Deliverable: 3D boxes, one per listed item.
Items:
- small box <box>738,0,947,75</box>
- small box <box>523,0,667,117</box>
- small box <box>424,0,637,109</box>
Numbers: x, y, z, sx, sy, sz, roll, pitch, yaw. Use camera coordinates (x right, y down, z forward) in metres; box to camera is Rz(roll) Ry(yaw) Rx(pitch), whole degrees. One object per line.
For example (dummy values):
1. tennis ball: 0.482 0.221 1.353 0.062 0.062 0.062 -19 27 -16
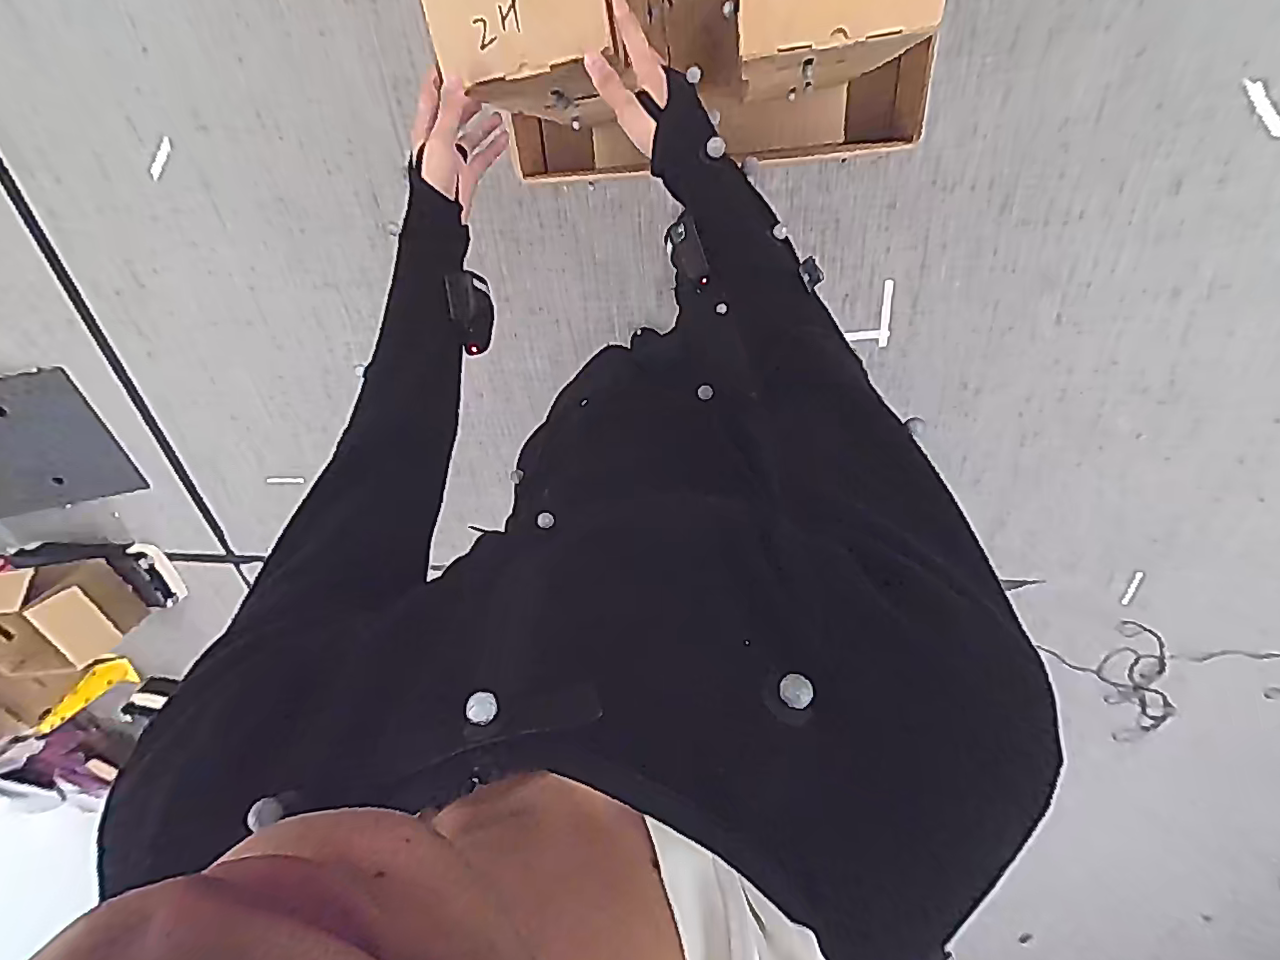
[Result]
1. small box: 0.172 -0.486 0.481 0.168 0.176 0.179 -1 122 11
2. small box: -0.063 -0.565 0.668 0.168 0.176 0.179 -3 119 12
3. small box: -0.104 -0.487 0.525 0.168 0.176 0.179 -4 118 12
